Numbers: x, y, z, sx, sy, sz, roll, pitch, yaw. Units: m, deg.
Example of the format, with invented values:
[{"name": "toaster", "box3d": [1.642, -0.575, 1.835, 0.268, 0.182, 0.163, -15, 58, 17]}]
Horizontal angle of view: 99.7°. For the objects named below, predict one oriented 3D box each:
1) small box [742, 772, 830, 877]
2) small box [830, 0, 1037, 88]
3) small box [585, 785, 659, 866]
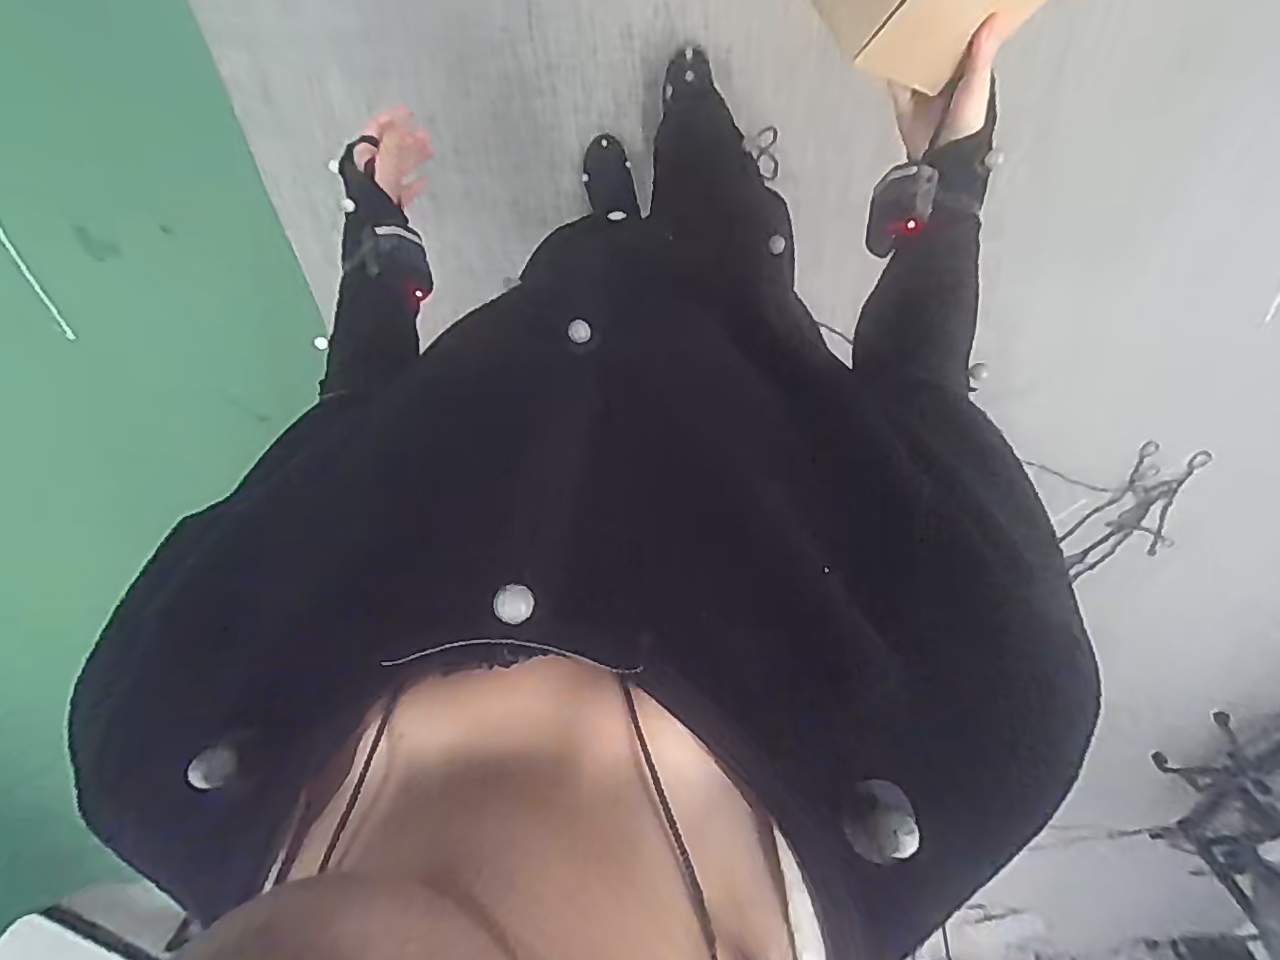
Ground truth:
[{"name": "small box", "box3d": [0.346, 0.840, 1.317, 0.168, 0.176, 0.179, -5, 124, 1]}, {"name": "small box", "box3d": [0.210, -0.420, 0.360, 0.179, 0.168, 0.176, -38, 77, 49]}, {"name": "small box", "box3d": [-0.043, 0.864, 1.318, 0.168, 0.176, 0.179, -5, 126, 1]}]
